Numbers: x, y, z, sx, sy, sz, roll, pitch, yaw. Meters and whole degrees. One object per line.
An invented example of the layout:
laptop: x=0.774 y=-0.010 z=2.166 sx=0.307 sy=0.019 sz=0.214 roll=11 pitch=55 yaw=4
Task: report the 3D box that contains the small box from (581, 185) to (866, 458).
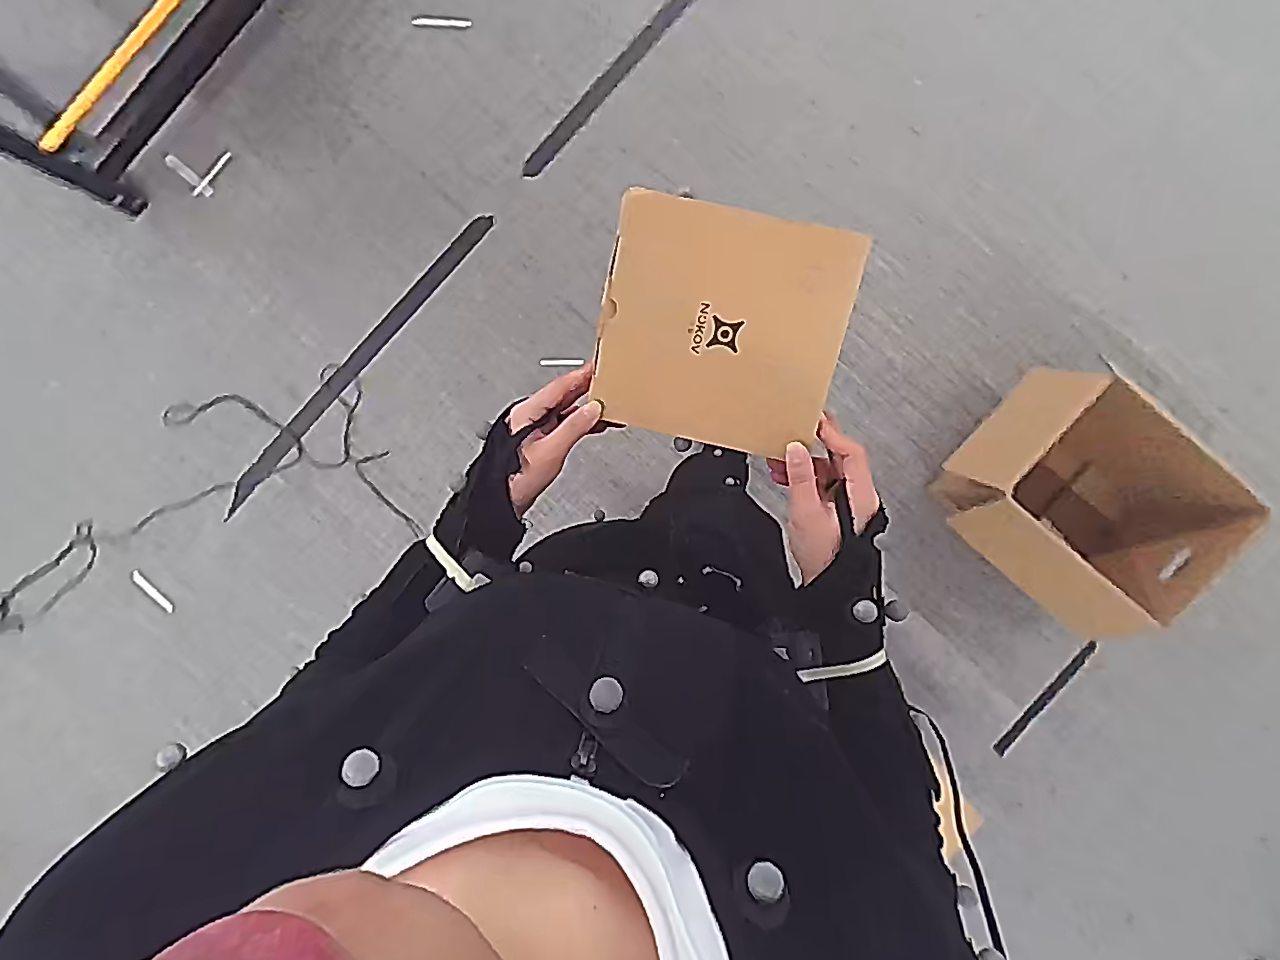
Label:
small box: x=0.063 y=-0.129 z=0.465 sx=0.179 sy=0.176 sz=0.168 roll=12 pitch=105 yaw=5
